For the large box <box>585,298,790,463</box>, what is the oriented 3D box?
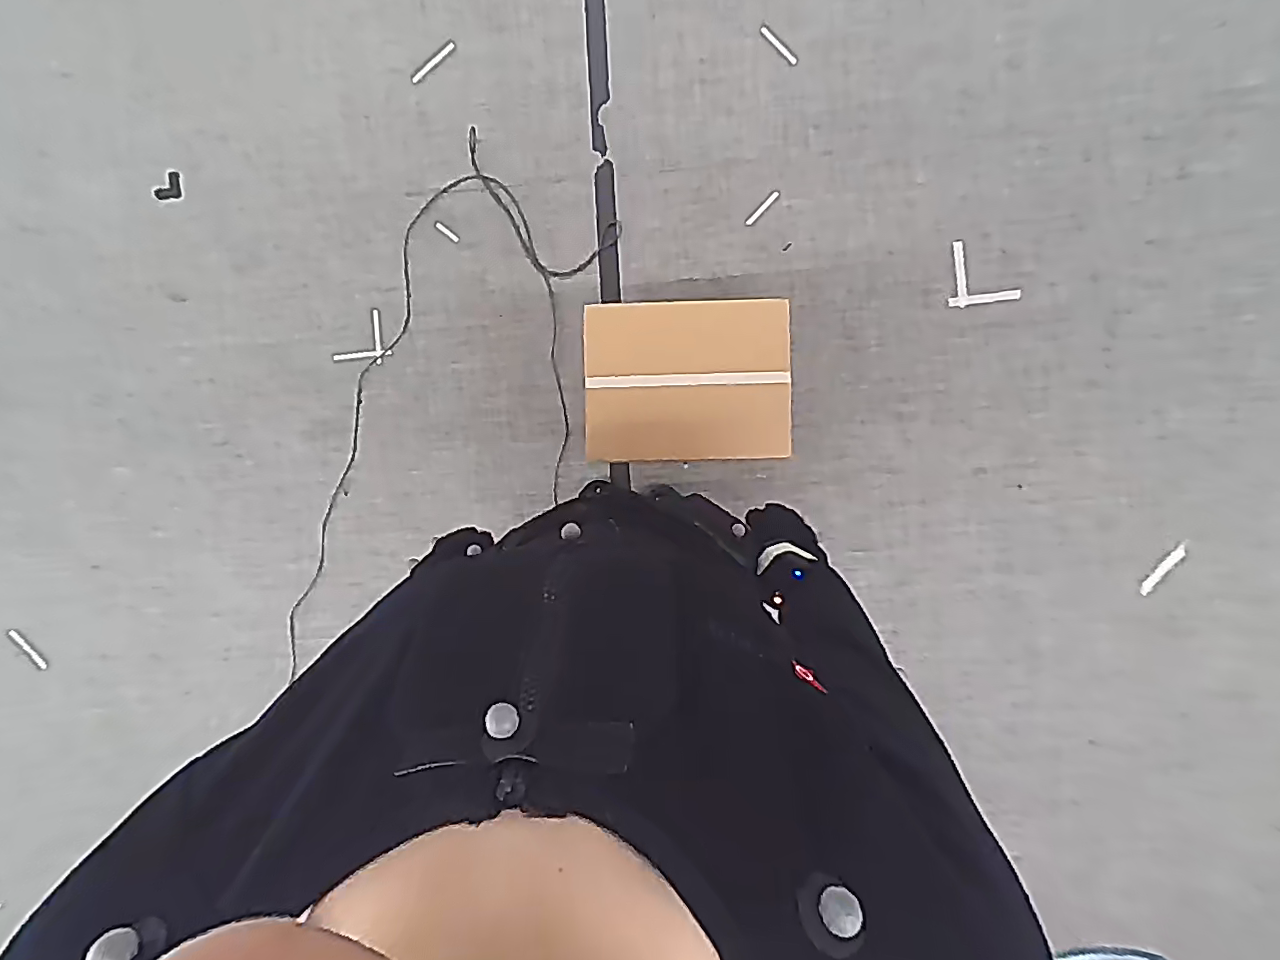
[{"bbox_3d":[0.097,-0.201,1.219,0.408,0.320,0.320,-1,92,2],"label":"large box"}]
